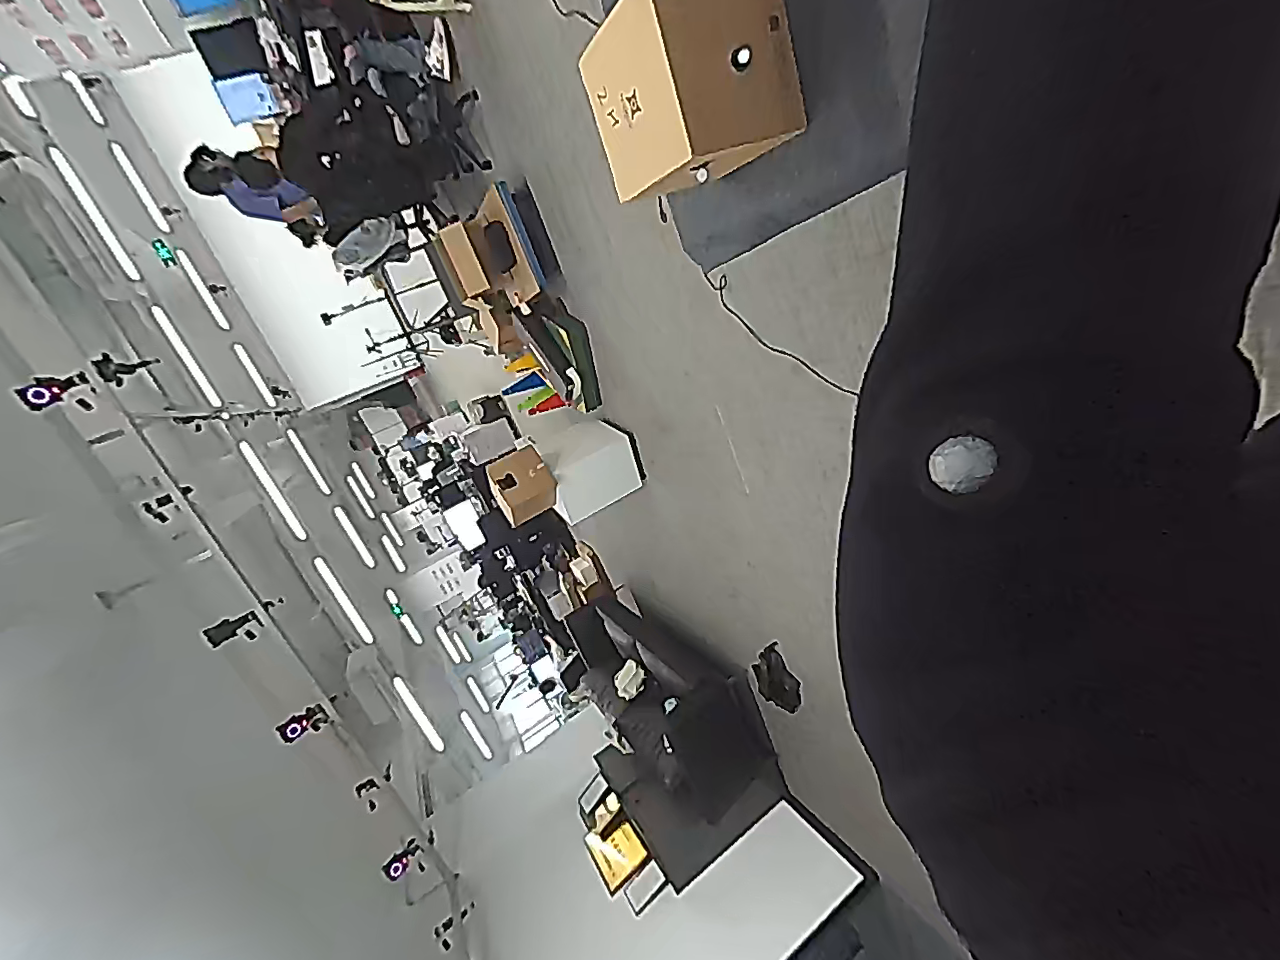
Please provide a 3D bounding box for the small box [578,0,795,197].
[{"bbox_3d":[0.059,-0.459,0.628,0.179,0.176,0.168,20,133,61],"label":"small box"}]
